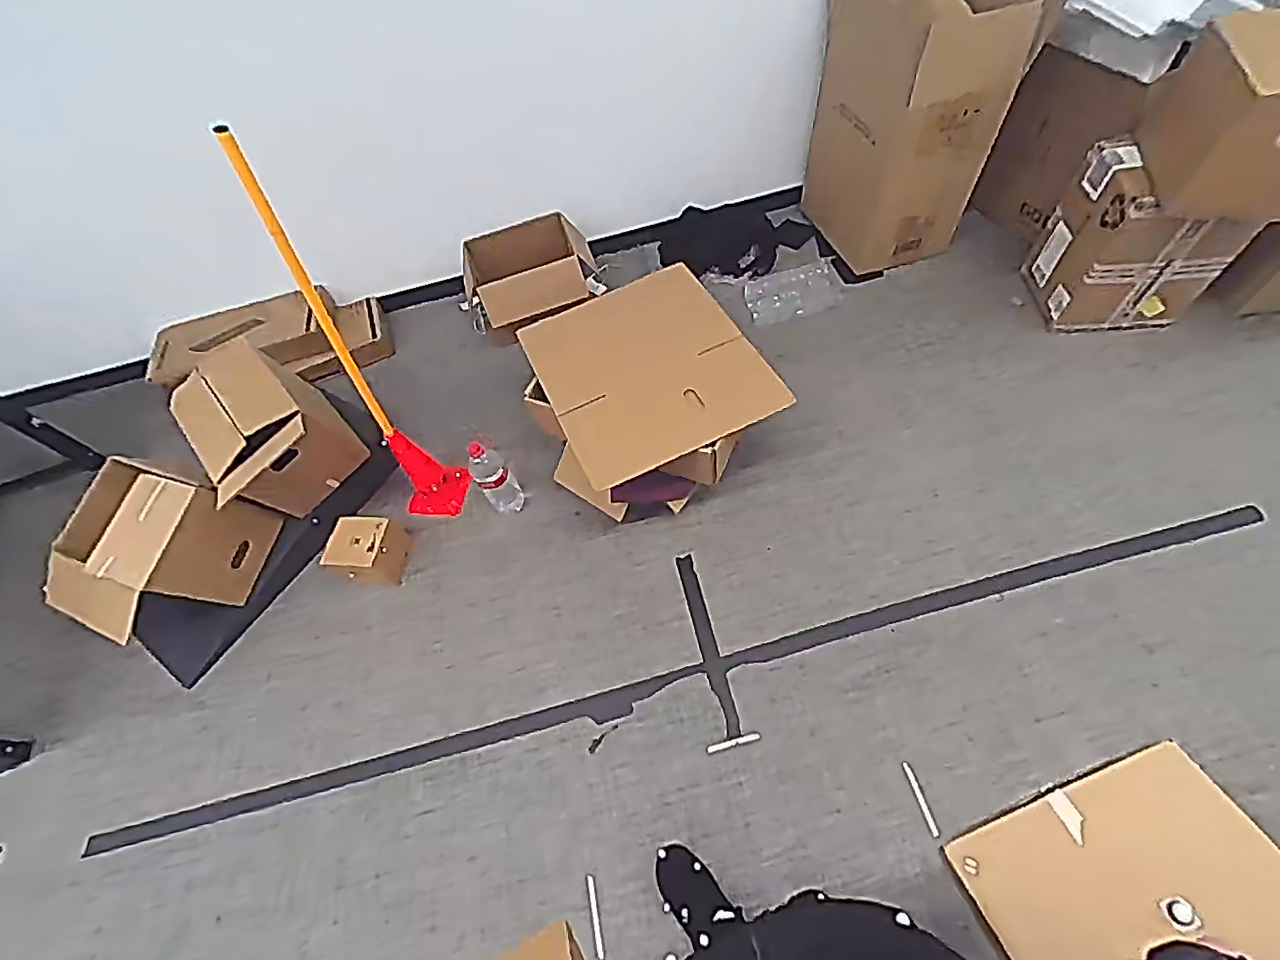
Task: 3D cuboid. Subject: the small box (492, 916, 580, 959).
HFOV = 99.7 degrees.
[{"bbox_3d":[-0.132,0.731,0.685,0.168,0.179,0.176,-23,89,-15],"label":"small box"}]
